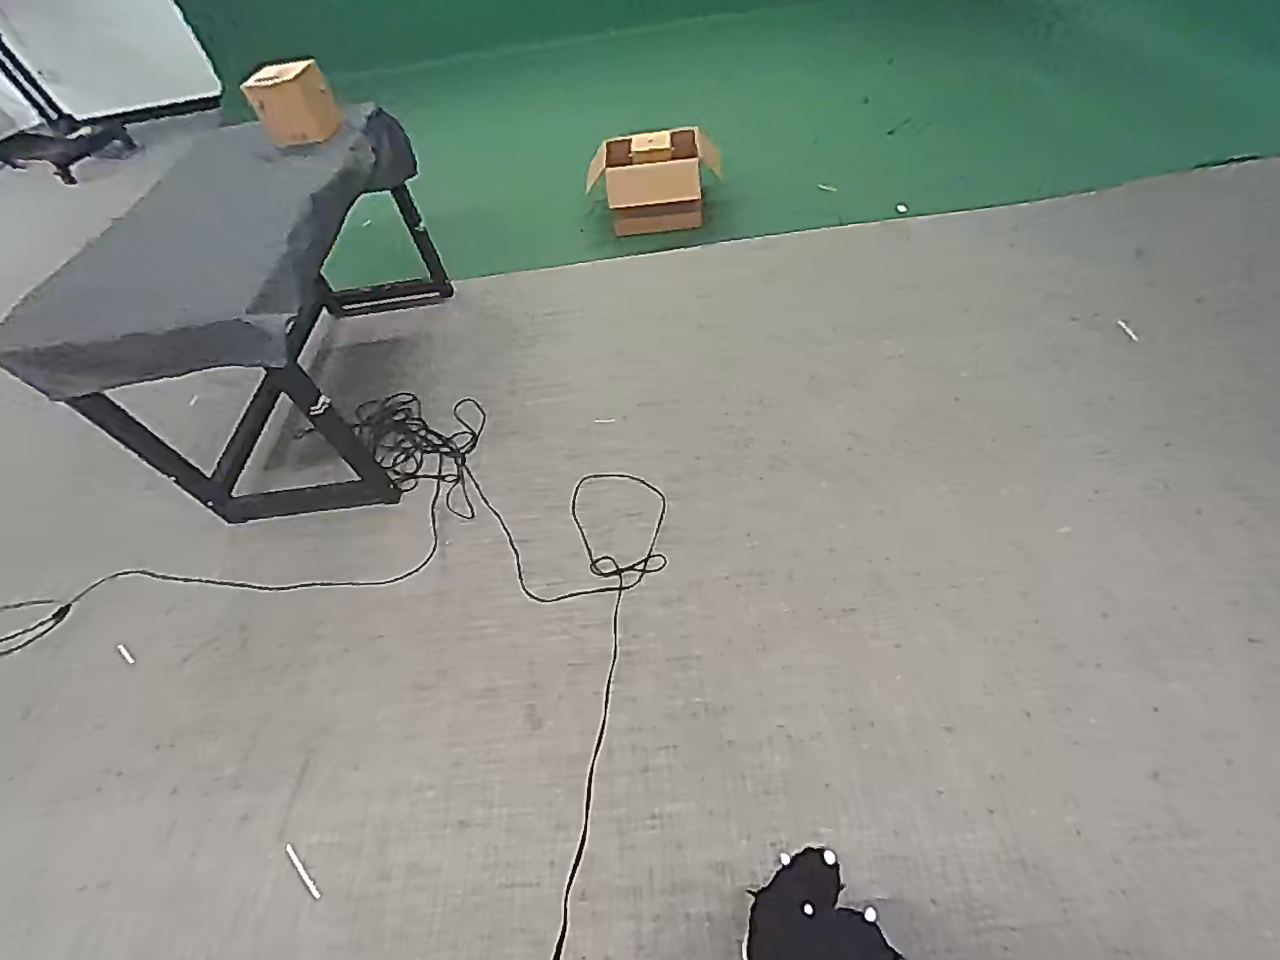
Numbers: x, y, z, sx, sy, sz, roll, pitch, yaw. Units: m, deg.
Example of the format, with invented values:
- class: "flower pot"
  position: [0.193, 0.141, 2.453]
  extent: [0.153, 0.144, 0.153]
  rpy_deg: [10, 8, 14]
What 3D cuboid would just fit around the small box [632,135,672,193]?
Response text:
- class: "small box"
  position: [0.056, -1.396, 2.391]
  extent: [0.168, 0.176, 0.179]
  rpy_deg: [-3, 52, 5]
